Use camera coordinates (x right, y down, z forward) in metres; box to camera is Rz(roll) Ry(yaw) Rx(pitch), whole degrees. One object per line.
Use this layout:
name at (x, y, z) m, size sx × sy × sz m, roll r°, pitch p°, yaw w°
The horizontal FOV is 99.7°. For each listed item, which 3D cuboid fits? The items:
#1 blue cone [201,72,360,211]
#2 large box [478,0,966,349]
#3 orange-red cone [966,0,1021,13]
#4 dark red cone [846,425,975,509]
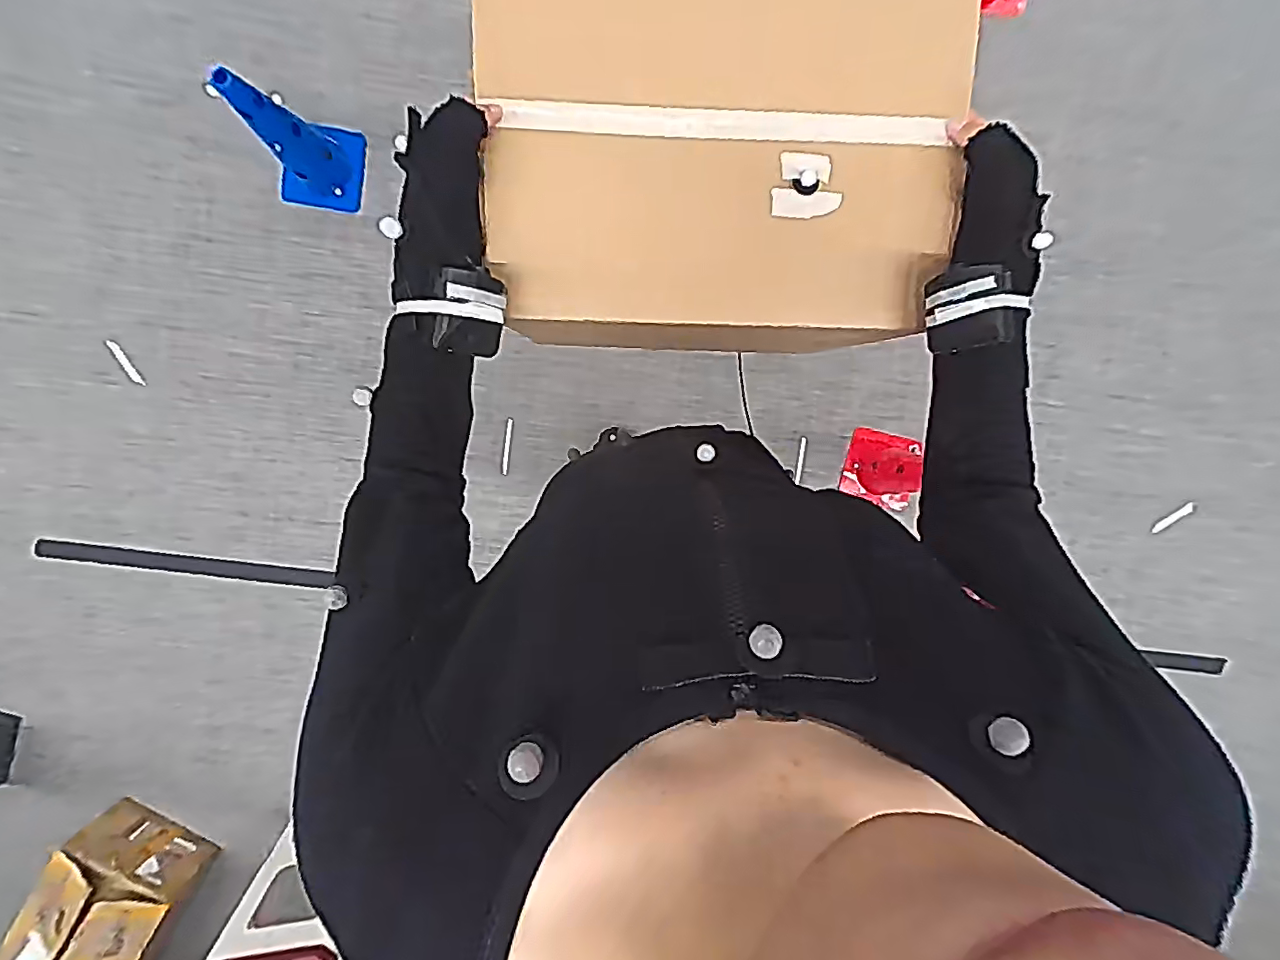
blue cone at (-0.817, -0.780, 1.221) m, size 0.192 × 0.380 × 0.193 m, roll 10°, pitch 95°, yaw -1°
large box at (0.059, -0.316, 0.596) m, size 0.408 × 0.320 × 0.320 m, roll 0°, pitch 100°, yaw -4°
orange-red cone at (0.897, -1.295, 1.209) m, size 0.198 × 0.360 × 0.199 m, roll 4°, pitch 94°, yaw -3°
dark red cone at (0.668, -0.018, 1.296) m, size 0.201 × 0.394 × 0.202 m, roll 13°, pitch 95°, yaw -2°
